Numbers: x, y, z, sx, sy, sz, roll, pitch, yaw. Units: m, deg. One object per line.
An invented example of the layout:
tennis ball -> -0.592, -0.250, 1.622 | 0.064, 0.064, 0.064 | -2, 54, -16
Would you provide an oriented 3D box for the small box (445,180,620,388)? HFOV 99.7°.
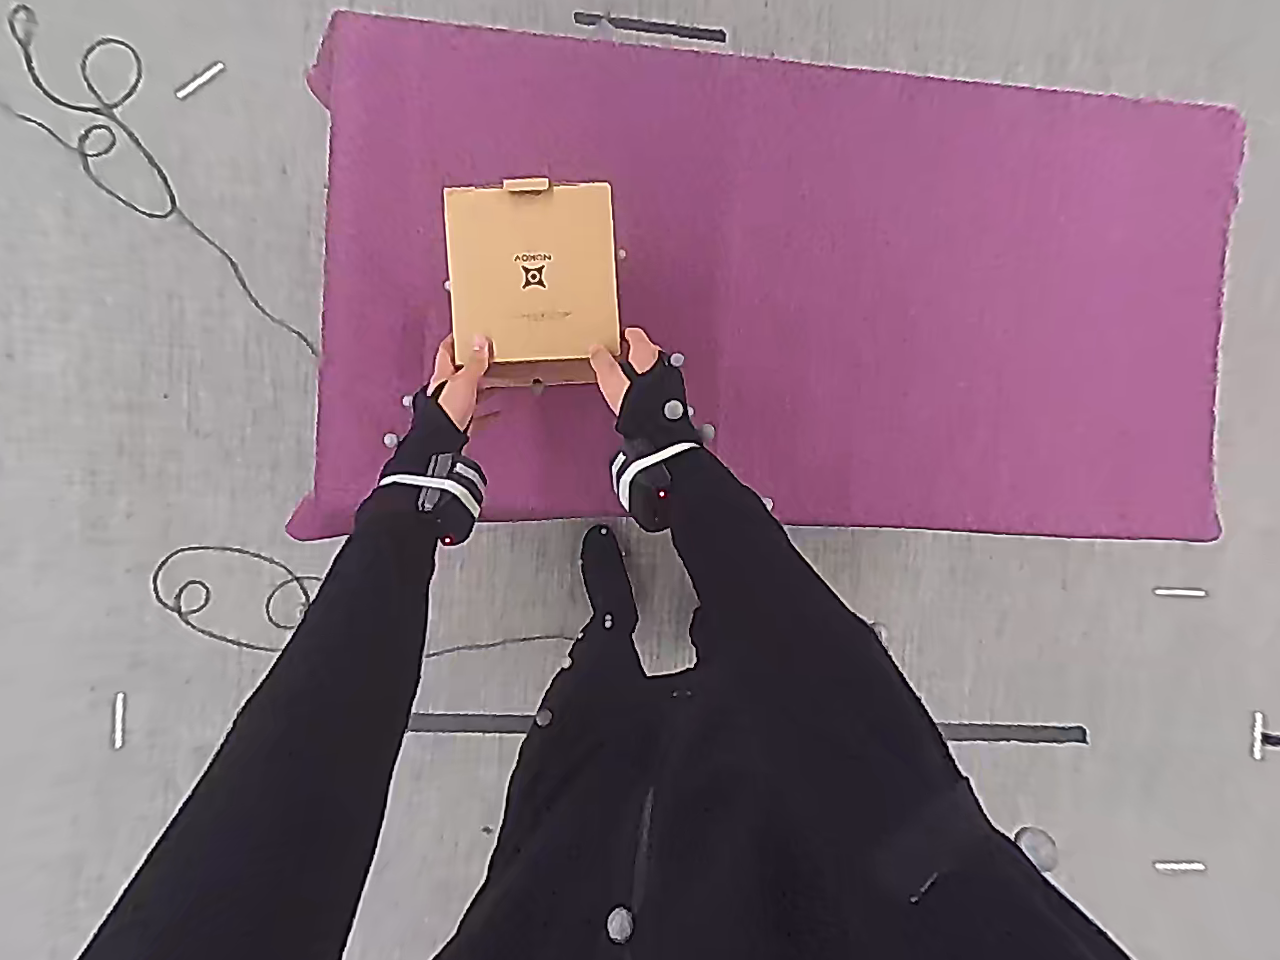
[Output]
small box -> -0.110, -0.205, 0.606 | 0.168, 0.176, 0.179 | -3, 92, -3
